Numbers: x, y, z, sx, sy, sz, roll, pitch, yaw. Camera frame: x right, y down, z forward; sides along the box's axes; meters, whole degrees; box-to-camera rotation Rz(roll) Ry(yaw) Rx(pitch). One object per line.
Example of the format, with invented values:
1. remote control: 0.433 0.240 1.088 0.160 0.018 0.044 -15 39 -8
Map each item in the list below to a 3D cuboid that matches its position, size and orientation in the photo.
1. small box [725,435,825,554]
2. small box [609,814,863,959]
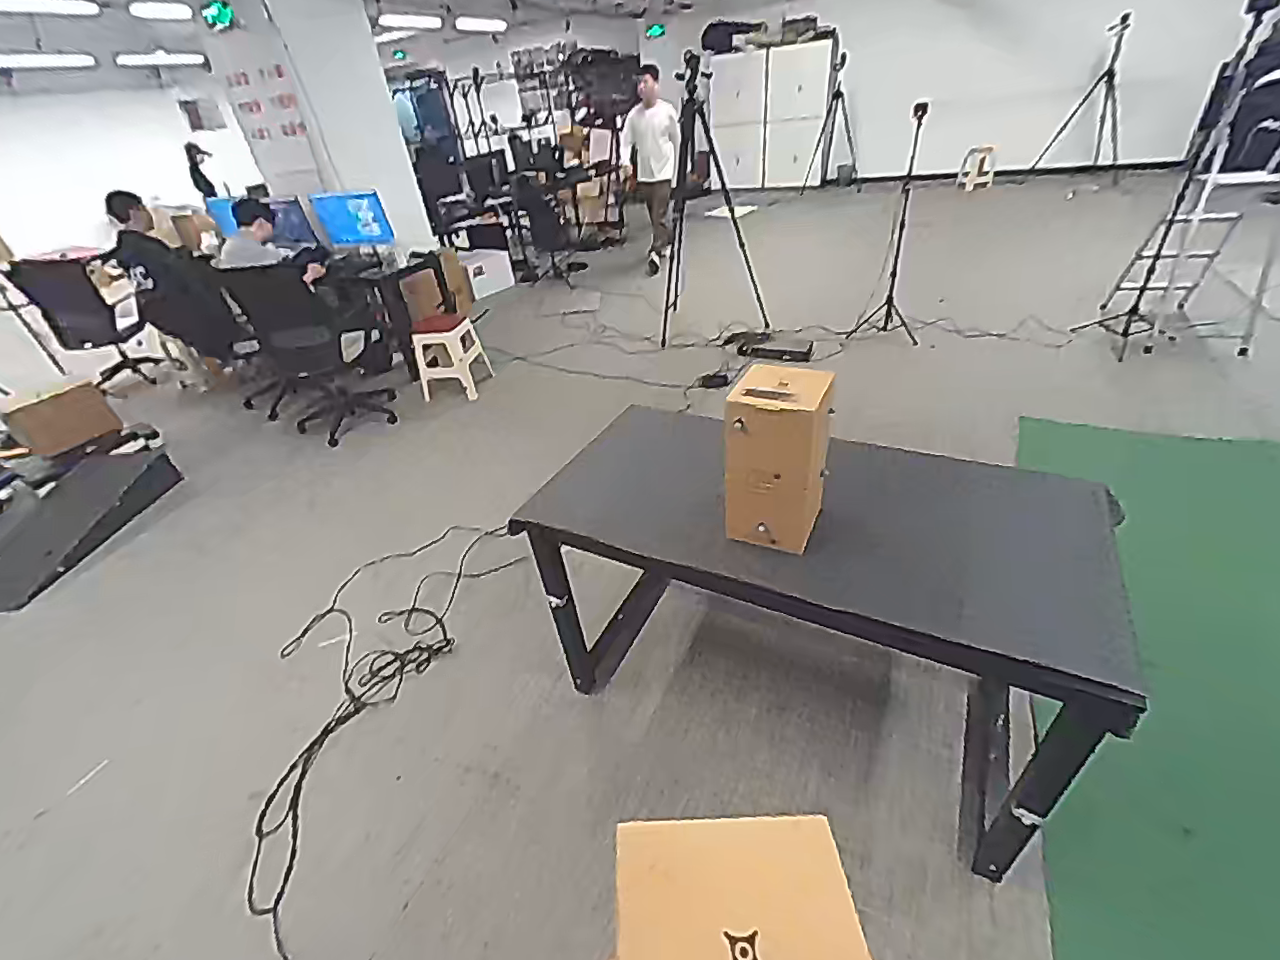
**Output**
1. small box: 0.287 0.028 1.160 0.168 0.176 0.179 12 39 25
2. small box: 0.060 0.377 0.392 0.168 0.176 0.179 -1 33 -4
